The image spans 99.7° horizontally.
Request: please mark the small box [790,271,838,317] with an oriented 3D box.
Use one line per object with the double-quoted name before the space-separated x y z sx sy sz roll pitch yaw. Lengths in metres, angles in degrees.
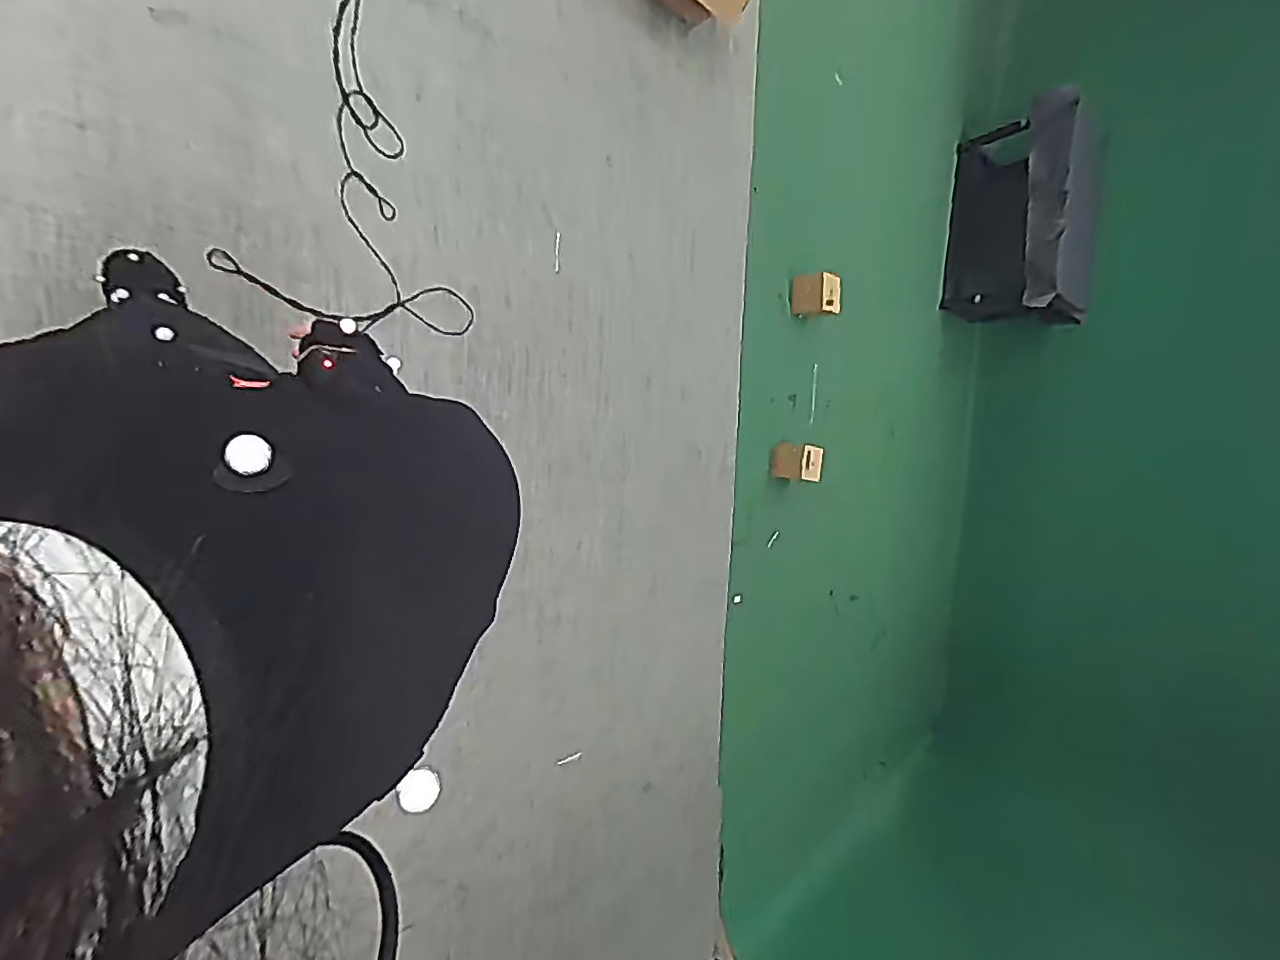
"small box" 0.854 -0.911 2.660 0.168 0.176 0.179 -6 97 -43
